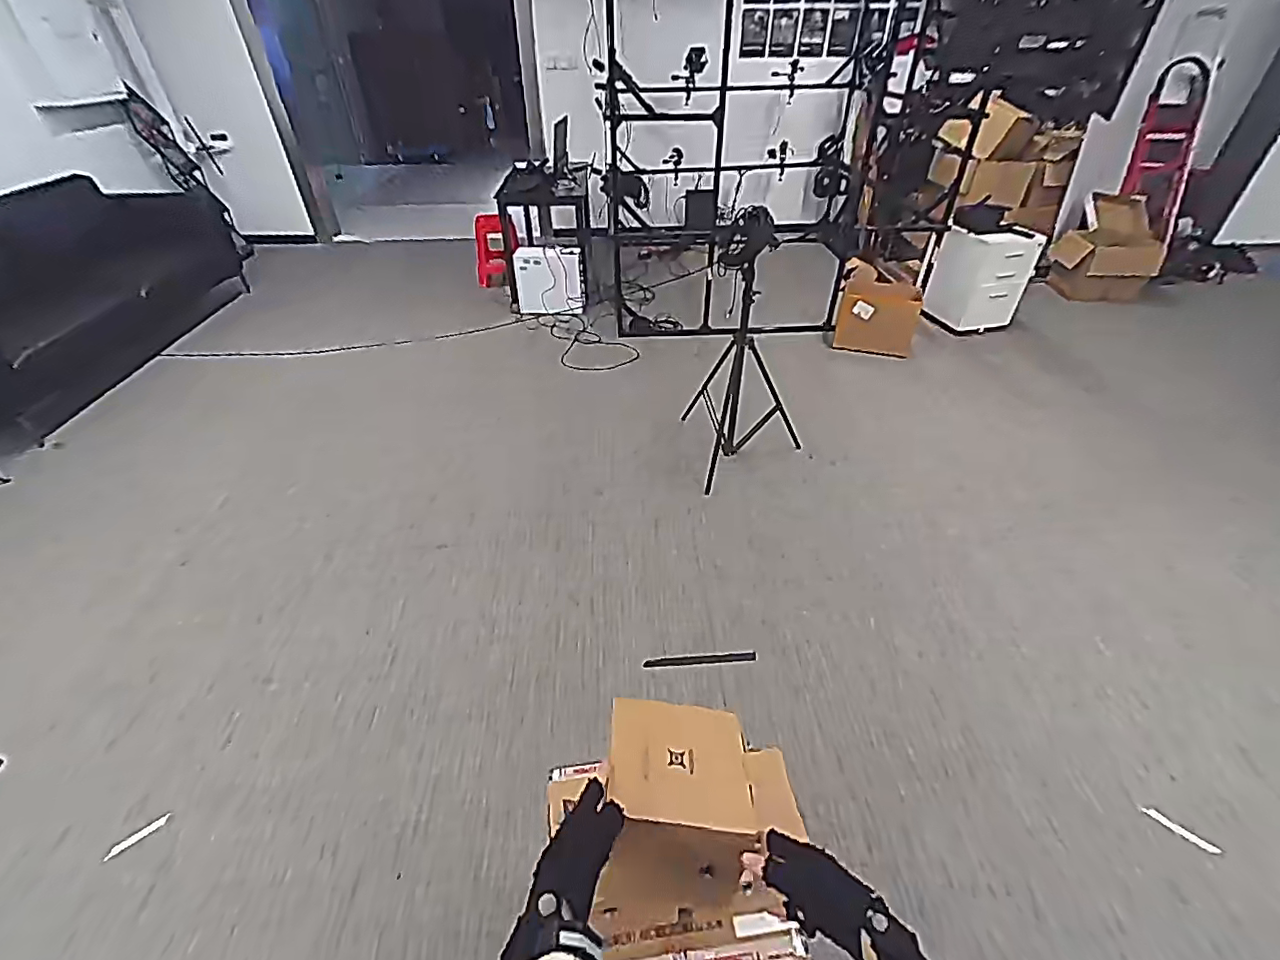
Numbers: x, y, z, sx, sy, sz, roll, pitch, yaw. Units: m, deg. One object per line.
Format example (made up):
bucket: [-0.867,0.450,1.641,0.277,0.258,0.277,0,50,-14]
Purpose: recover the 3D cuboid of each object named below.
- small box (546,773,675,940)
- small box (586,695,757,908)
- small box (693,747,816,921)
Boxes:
small box: [-0.044,0.571,0.831,0.179,0.176,0.168,-7,38,-6]
small box: [0.034,0.409,0.693,0.179,0.176,0.168,8,26,-2]
small box: [0.153,0.554,0.852,0.168,0.176,0.179,-3,37,-6]
